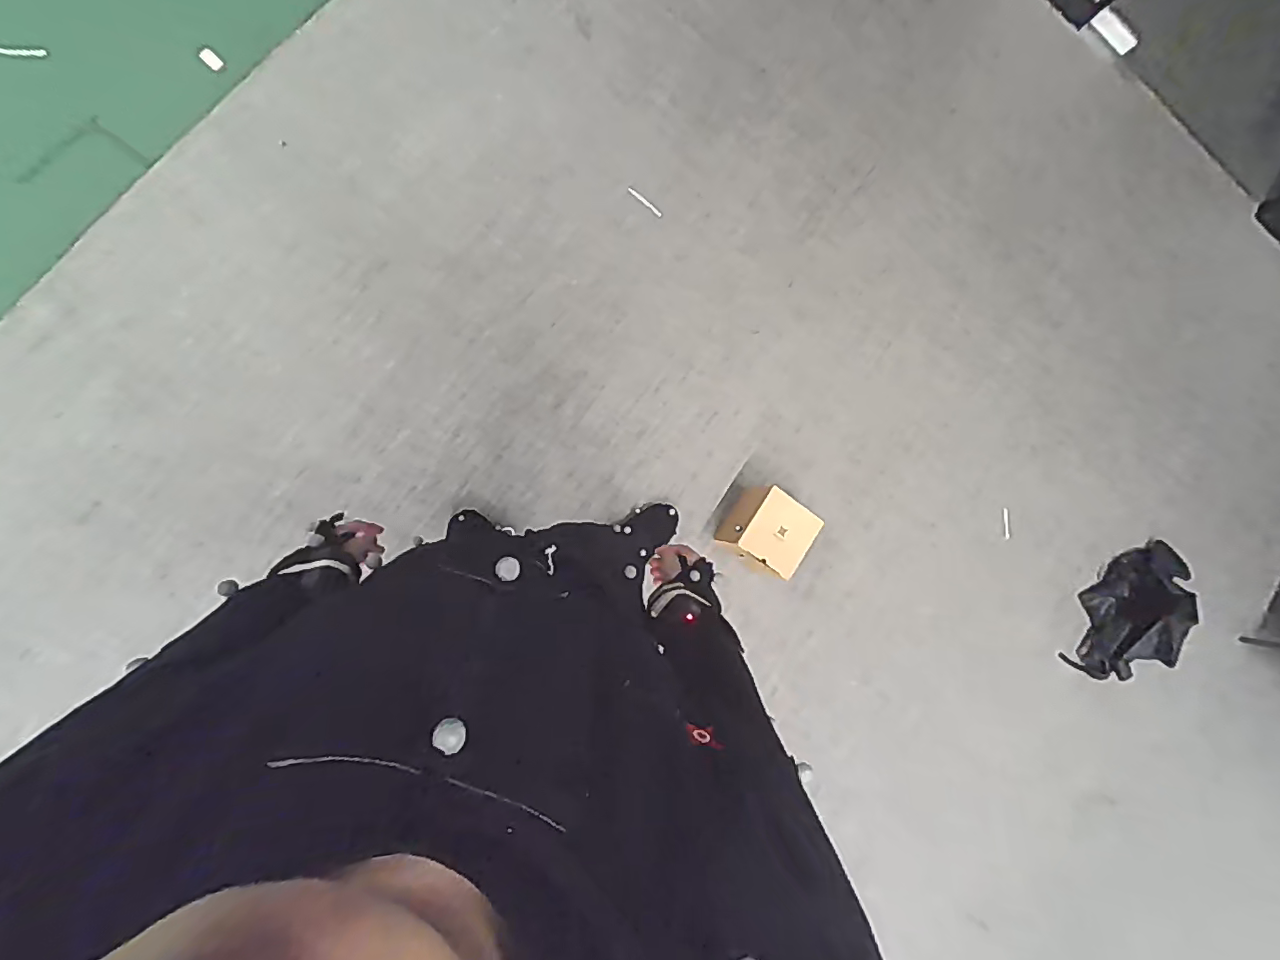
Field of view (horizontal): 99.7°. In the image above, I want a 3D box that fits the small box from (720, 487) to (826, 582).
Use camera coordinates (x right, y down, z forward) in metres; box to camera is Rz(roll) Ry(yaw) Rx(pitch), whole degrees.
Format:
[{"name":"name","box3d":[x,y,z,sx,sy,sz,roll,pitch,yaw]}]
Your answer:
[{"name":"small box","box3d":[0.333,0.134,1.390,0.168,0.176,0.179,35,82,-9]}]
